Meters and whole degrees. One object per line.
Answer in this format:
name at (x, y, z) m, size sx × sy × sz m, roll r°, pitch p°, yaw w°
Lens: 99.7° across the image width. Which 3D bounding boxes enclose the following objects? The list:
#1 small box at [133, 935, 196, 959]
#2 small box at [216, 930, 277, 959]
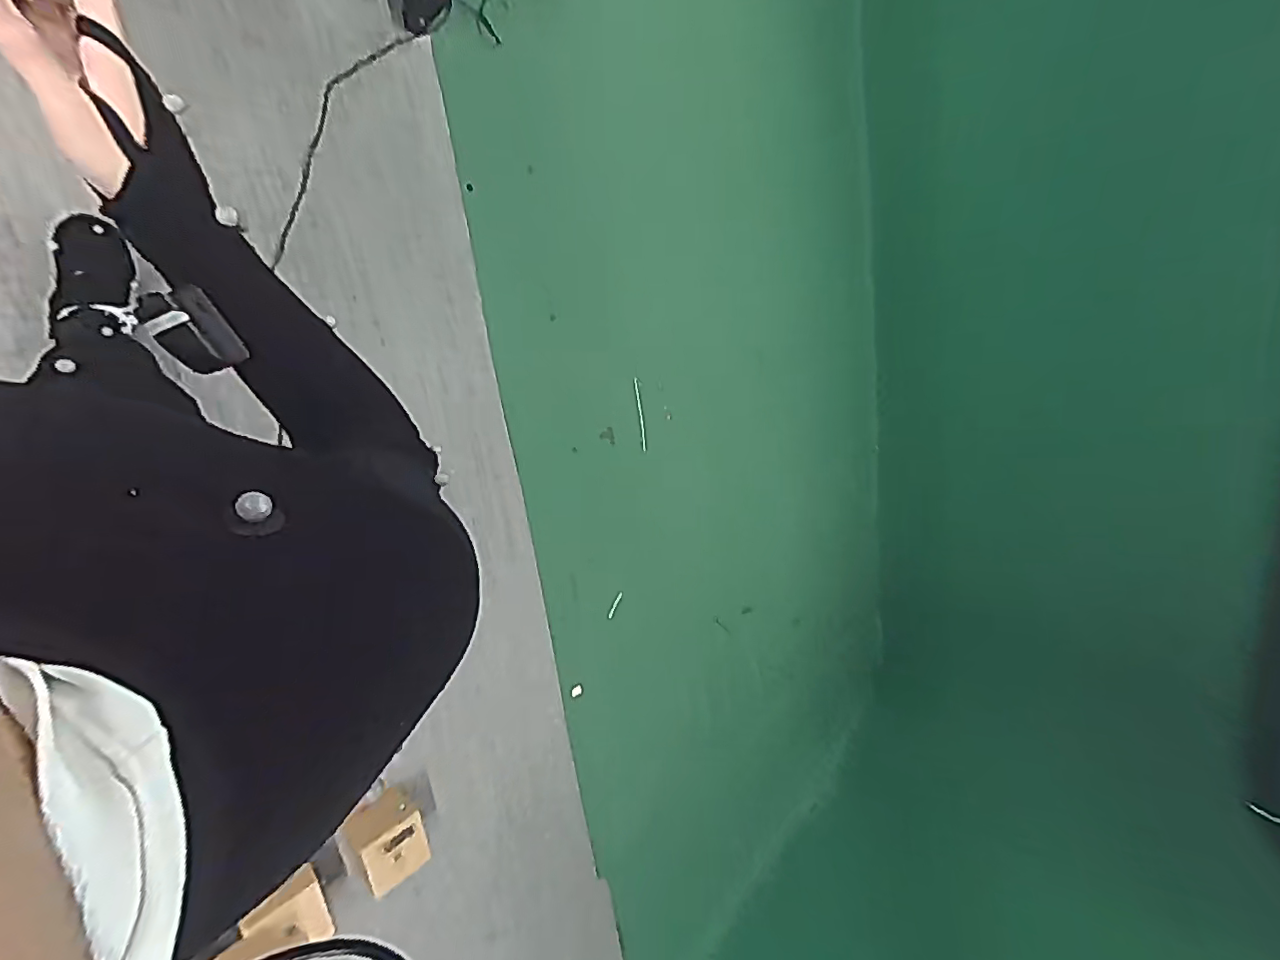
small box at (-1.112, 1.199, 1.231) m, size 0.168 × 0.176 × 0.179 m, roll -22°, pitch 109°, yaw -43°
small box at (-0.901, 1.180, 1.209) m, size 0.179 × 0.176 × 0.168 m, roll -23°, pitch 110°, yaw -40°
